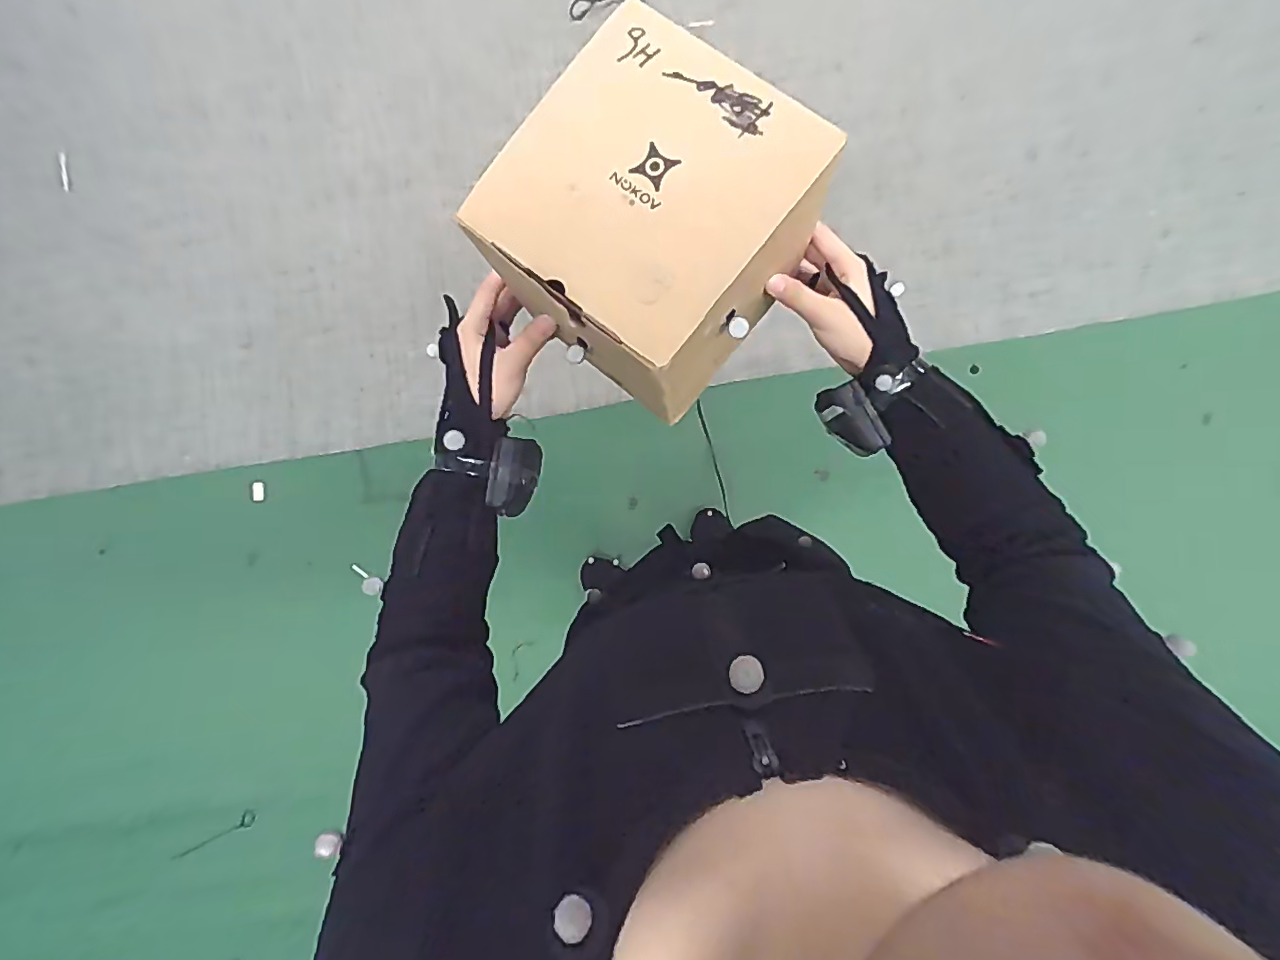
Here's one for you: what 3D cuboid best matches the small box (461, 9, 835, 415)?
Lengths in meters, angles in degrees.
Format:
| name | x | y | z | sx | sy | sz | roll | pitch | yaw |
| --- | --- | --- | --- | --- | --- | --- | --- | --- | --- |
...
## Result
| name | x | y | z | sx | sy | sz | roll | pitch | yaw |
| --- | --- | --- | --- | --- | --- | --- | --- | --- | --- |
| small box | 0.011 | -0.170 | 0.405 | 0.168 | 0.176 | 0.179 | 39 | 91 | 8 |
